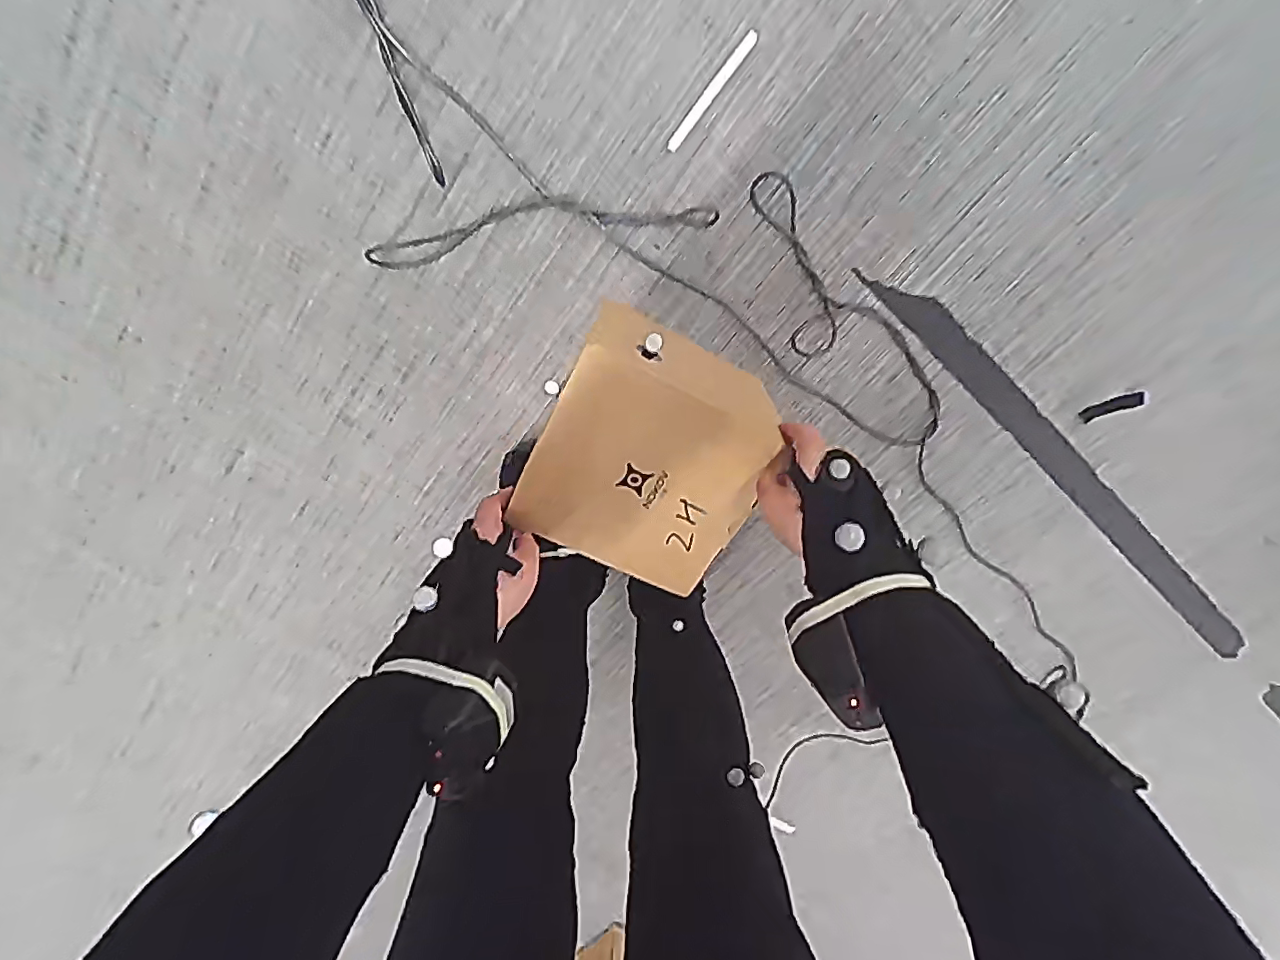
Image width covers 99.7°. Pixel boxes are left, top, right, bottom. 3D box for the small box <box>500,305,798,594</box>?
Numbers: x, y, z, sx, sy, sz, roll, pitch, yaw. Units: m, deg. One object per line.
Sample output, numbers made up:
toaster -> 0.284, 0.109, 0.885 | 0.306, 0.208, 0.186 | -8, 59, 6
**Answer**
small box -> 0.004, -0.038, 0.479 | 0.179, 0.176, 0.168 | 26, 116, -12
